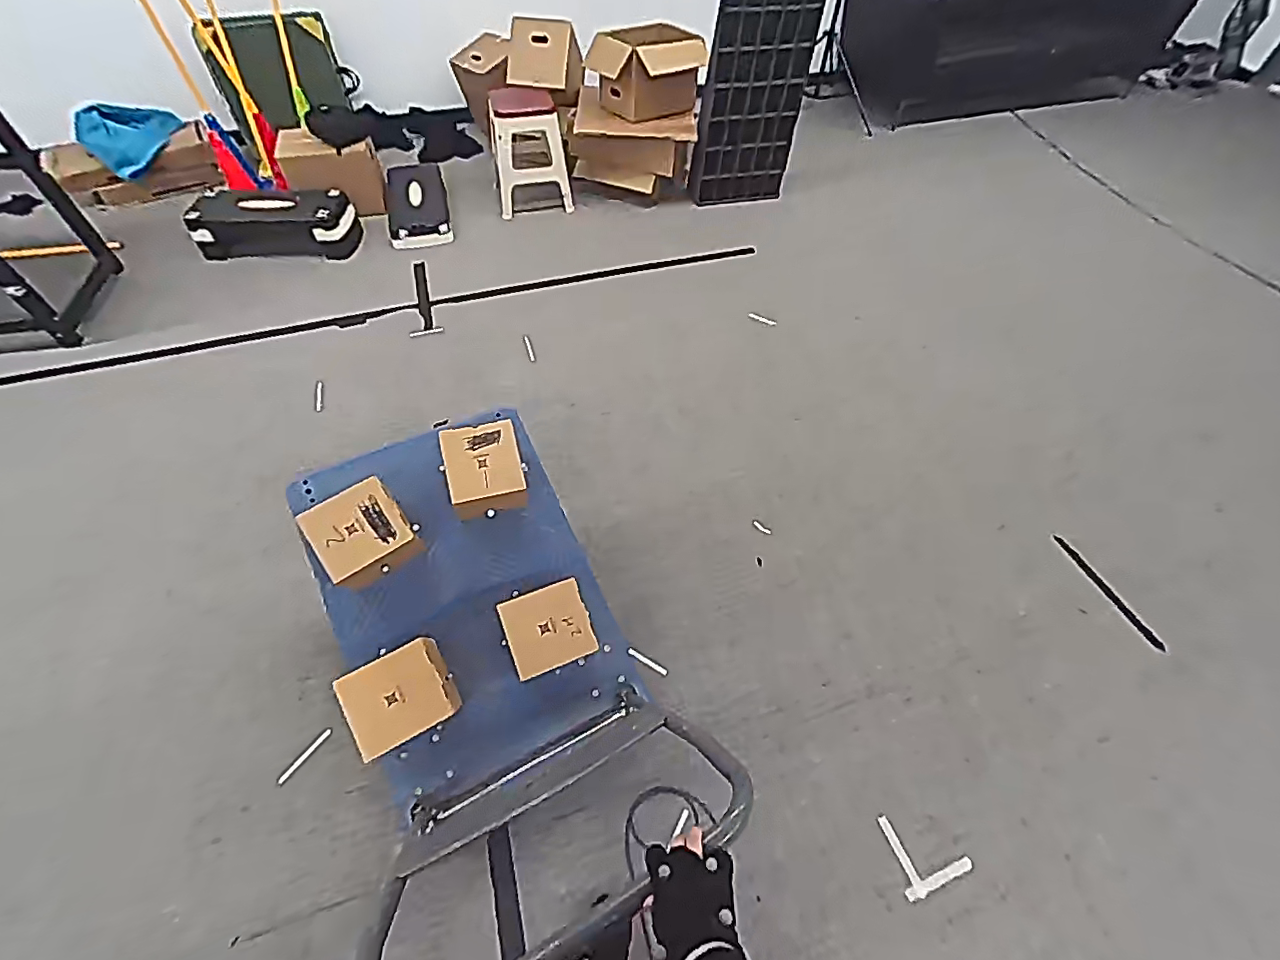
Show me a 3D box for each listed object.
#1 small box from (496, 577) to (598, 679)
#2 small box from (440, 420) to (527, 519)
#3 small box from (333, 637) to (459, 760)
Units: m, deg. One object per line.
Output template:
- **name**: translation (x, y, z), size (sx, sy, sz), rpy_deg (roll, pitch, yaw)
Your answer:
- **small box**: translation (-0.210, 0.333, 1.212), size (0.179, 0.176, 0.168), rpy_deg (-18, 78, -17)
- **small box**: translation (-0.370, -0.022, 1.289), size (0.168, 0.176, 0.179), rpy_deg (-12, 77, -16)
- **small box**: translation (-0.492, 0.443, 1.115), size (0.179, 0.176, 0.168), rpy_deg (-25, 80, -20)
